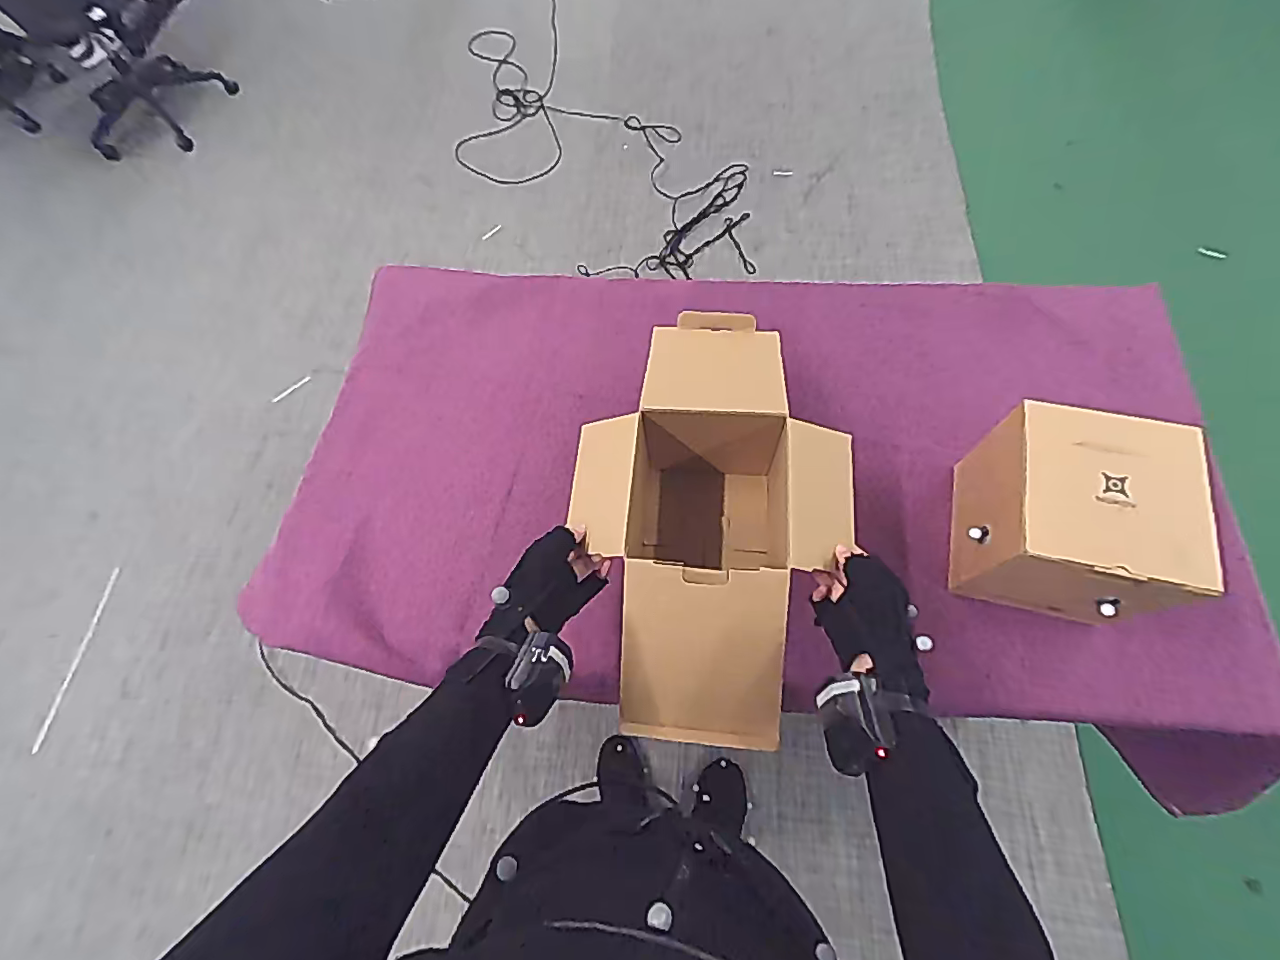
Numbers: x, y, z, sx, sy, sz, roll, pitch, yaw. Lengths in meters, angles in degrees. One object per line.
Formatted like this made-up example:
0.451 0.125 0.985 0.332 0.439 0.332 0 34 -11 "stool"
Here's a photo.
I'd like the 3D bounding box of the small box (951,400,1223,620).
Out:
0.465 0.041 0.594 0.168 0.176 0.179 13 67 11 "small box"
